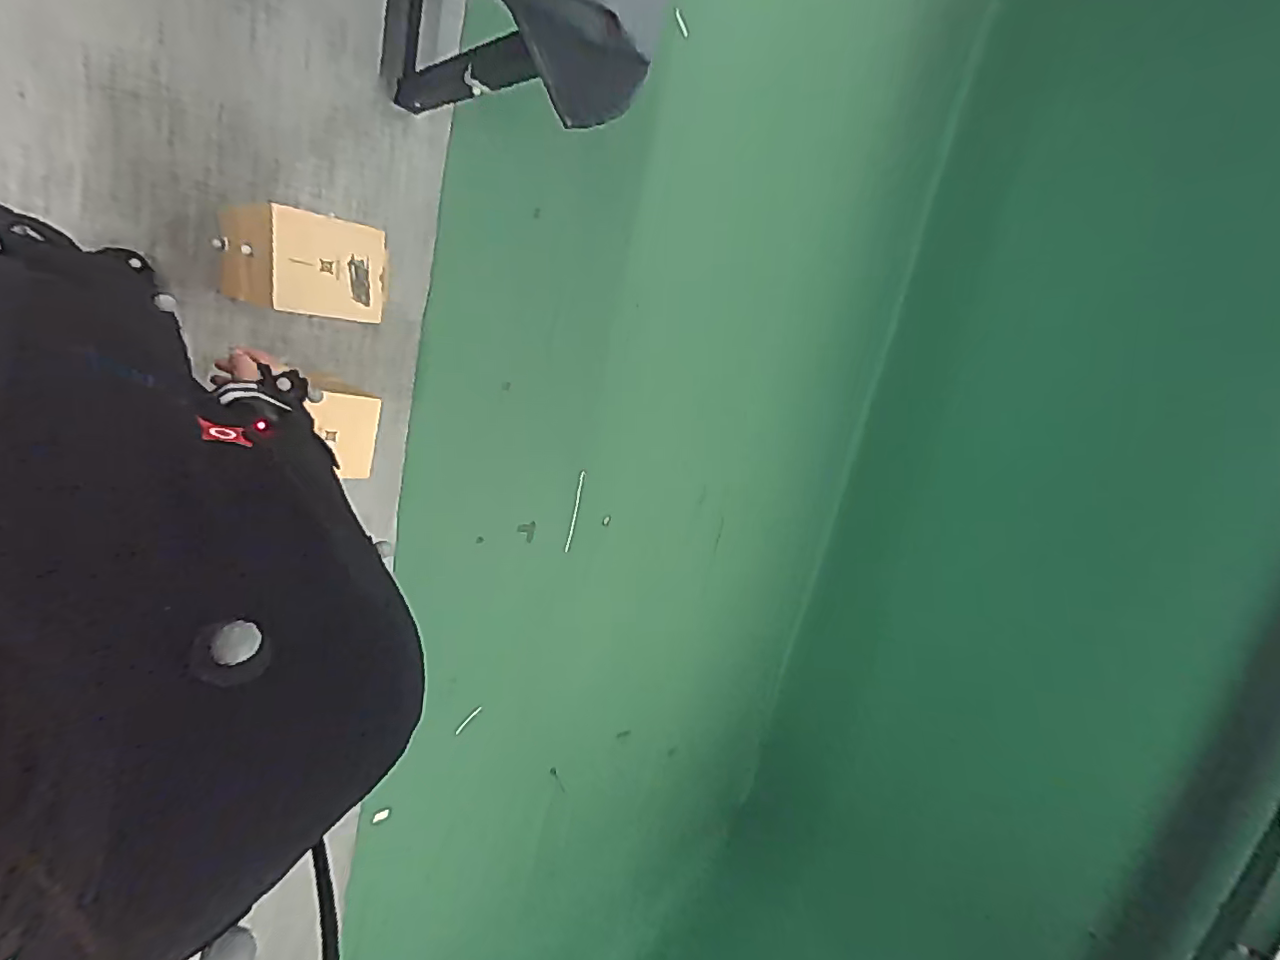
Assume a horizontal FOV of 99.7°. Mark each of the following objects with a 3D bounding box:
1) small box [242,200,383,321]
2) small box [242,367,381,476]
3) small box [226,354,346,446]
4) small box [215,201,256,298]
[{"bbox_3d":[-0.586,-0.389,0.968,0.179,0.176,0.168,-7,112,-47],"label":"small box"},{"bbox_3d":[-0.636,-0.113,1.045,0.179,0.176,0.168,2,107,-49],"label":"small box"},{"bbox_3d":[-0.754,-0.165,1.146,0.179,0.176,0.168,1,108,-48],"label":"small box"},{"bbox_3d":[-0.709,-0.437,1.066,0.179,0.176,0.168,-5,111,-47],"label":"small box"}]
